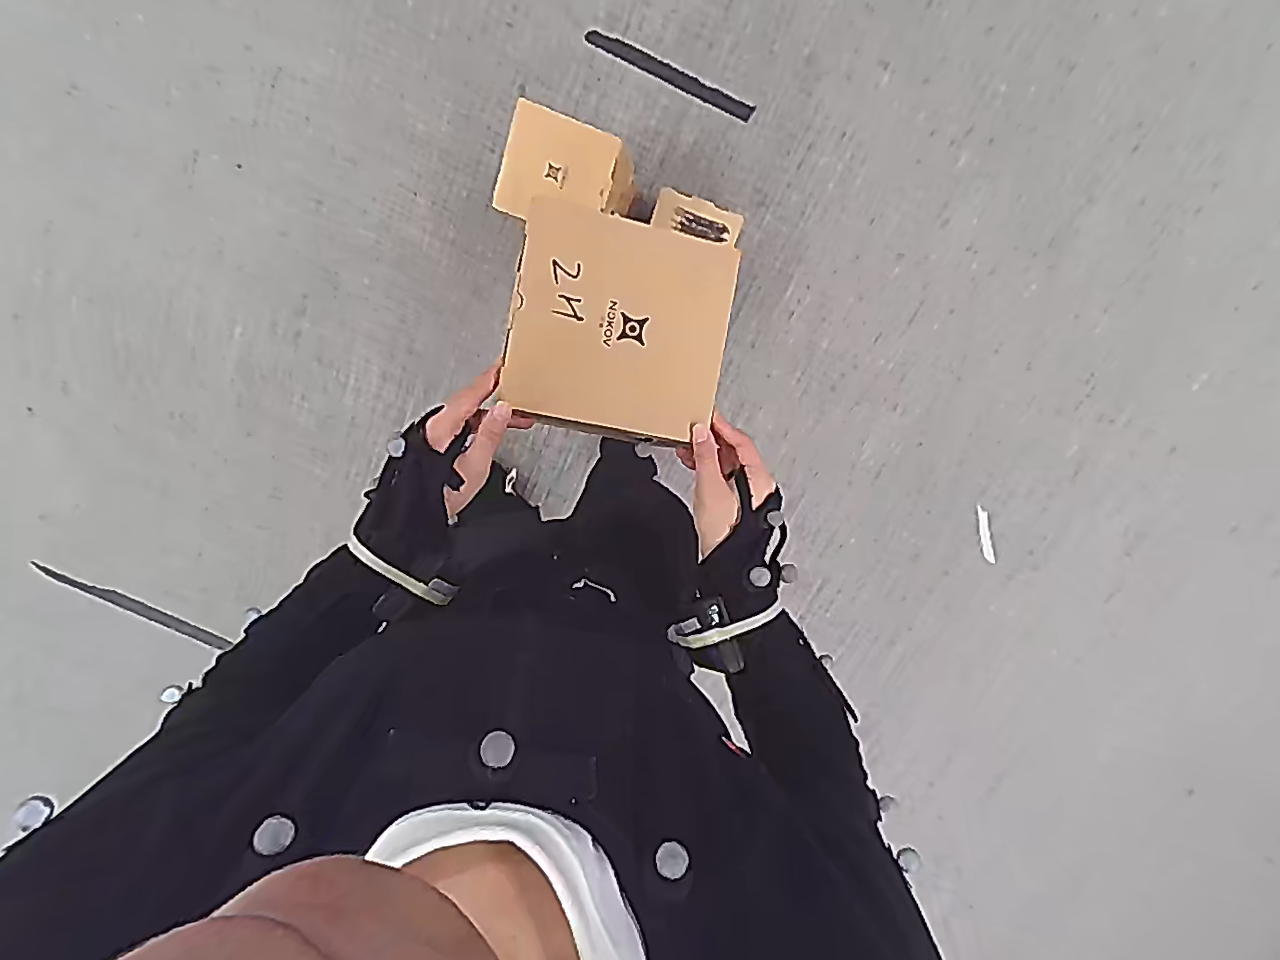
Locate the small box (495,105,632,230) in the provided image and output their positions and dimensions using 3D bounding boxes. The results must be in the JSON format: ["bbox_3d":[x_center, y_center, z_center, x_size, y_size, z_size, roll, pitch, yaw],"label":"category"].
[{"bbox_3d":[-0.125,-0.503,0.940,0.179,0.176,0.168,20,108,-3],"label":"small box"}]

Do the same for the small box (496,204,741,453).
[{"bbox_3d":[-0.029,-0.122,0.509,0.179,0.176,0.168,10,91,-11],"label":"small box"}]
